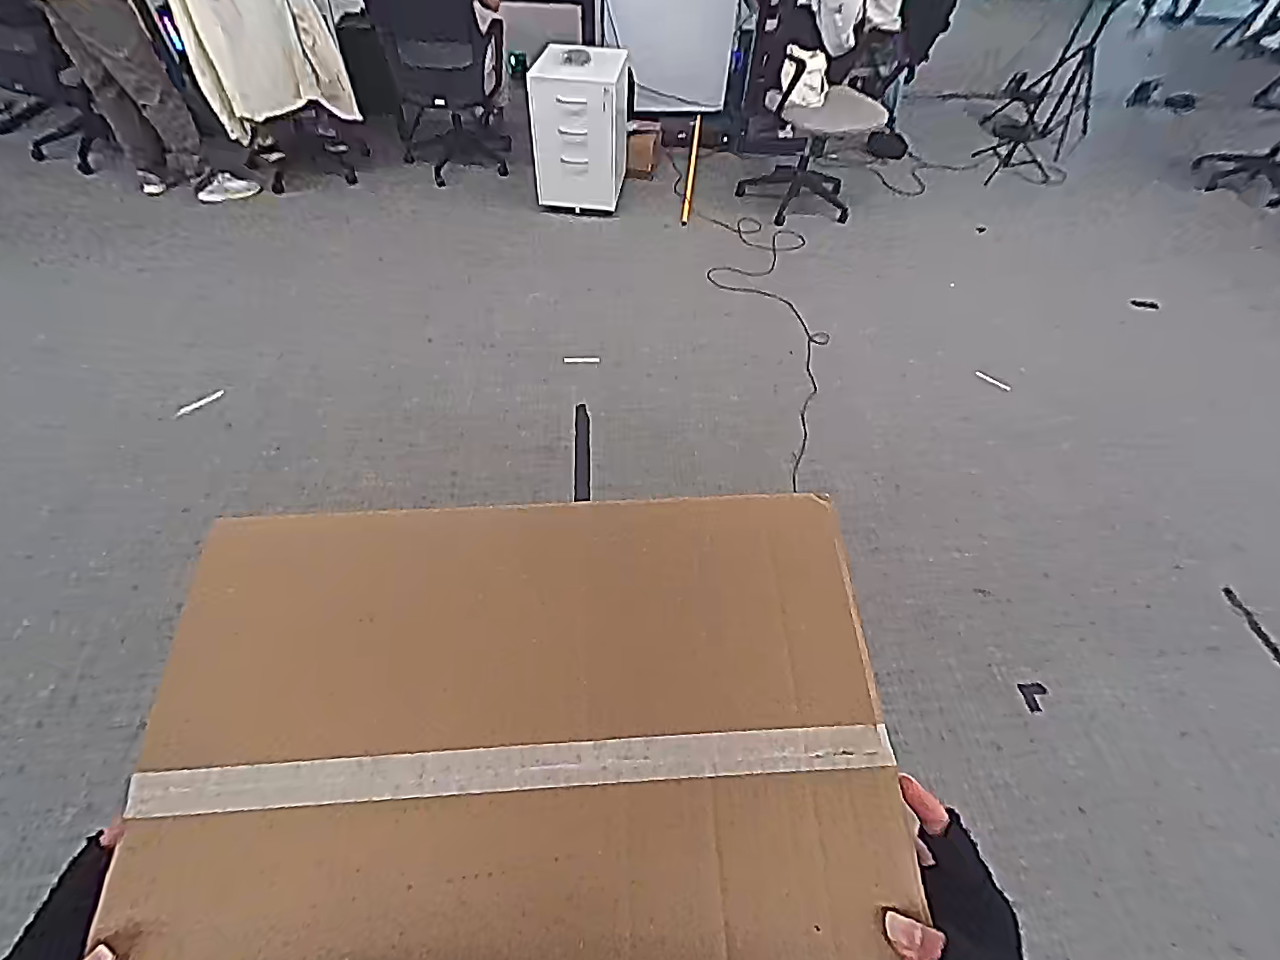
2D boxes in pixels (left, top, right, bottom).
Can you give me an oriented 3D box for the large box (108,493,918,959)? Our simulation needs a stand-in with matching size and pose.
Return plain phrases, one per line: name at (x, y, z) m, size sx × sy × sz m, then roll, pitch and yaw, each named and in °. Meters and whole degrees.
large box at (-0.069, 0.222, 0.440) m, size 0.408 × 0.320 × 0.320 m, roll -2°, pitch 64°, yaw -2°
